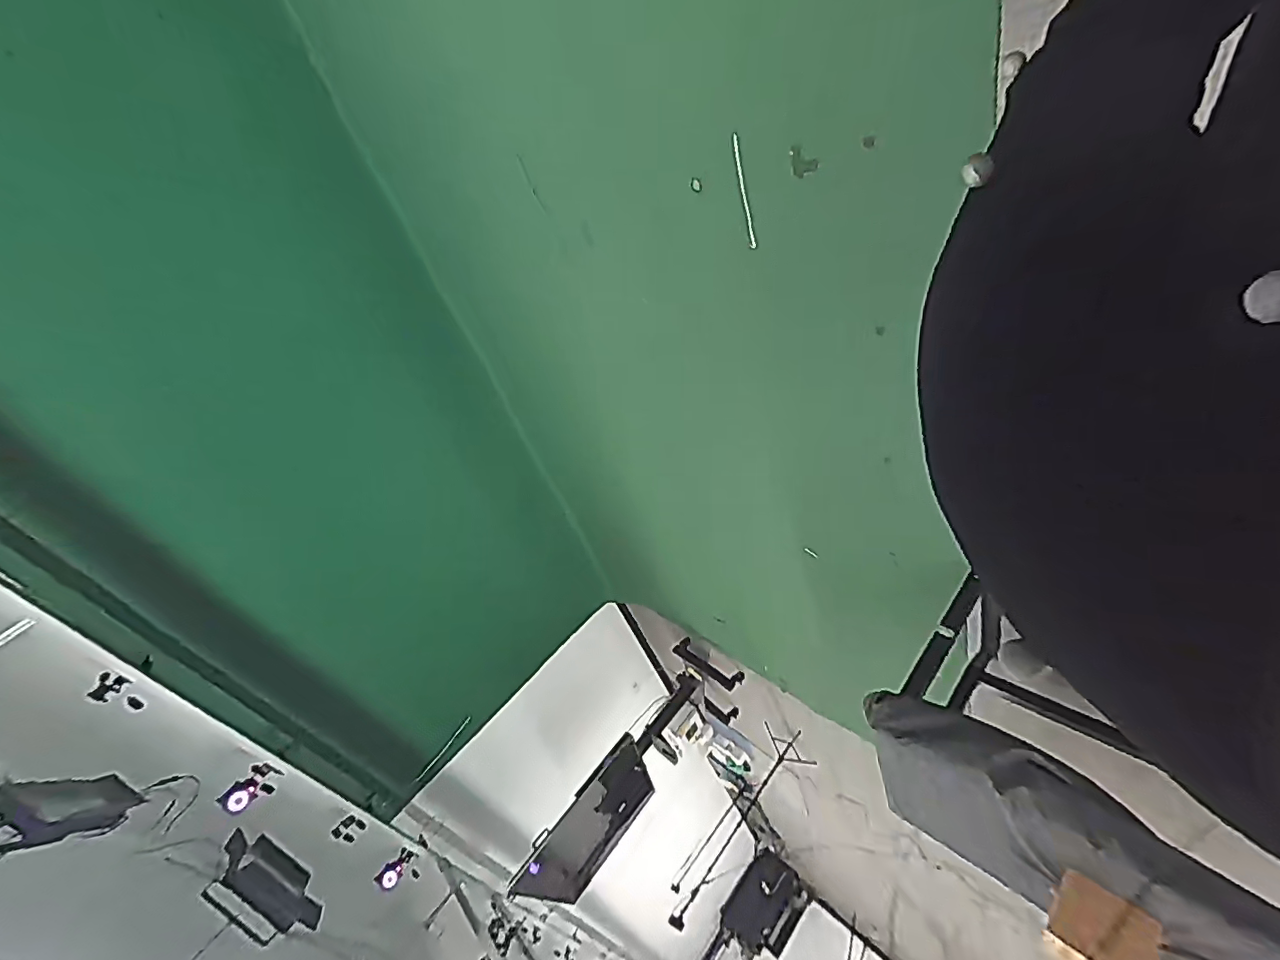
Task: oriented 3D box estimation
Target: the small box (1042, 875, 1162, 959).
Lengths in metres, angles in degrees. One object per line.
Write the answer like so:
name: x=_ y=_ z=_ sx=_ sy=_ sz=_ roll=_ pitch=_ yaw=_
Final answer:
small box: x=1.095 y=1.097 z=1.284 sx=0.179 sy=0.176 sz=0.168 roll=21 pitch=144 yaw=45
